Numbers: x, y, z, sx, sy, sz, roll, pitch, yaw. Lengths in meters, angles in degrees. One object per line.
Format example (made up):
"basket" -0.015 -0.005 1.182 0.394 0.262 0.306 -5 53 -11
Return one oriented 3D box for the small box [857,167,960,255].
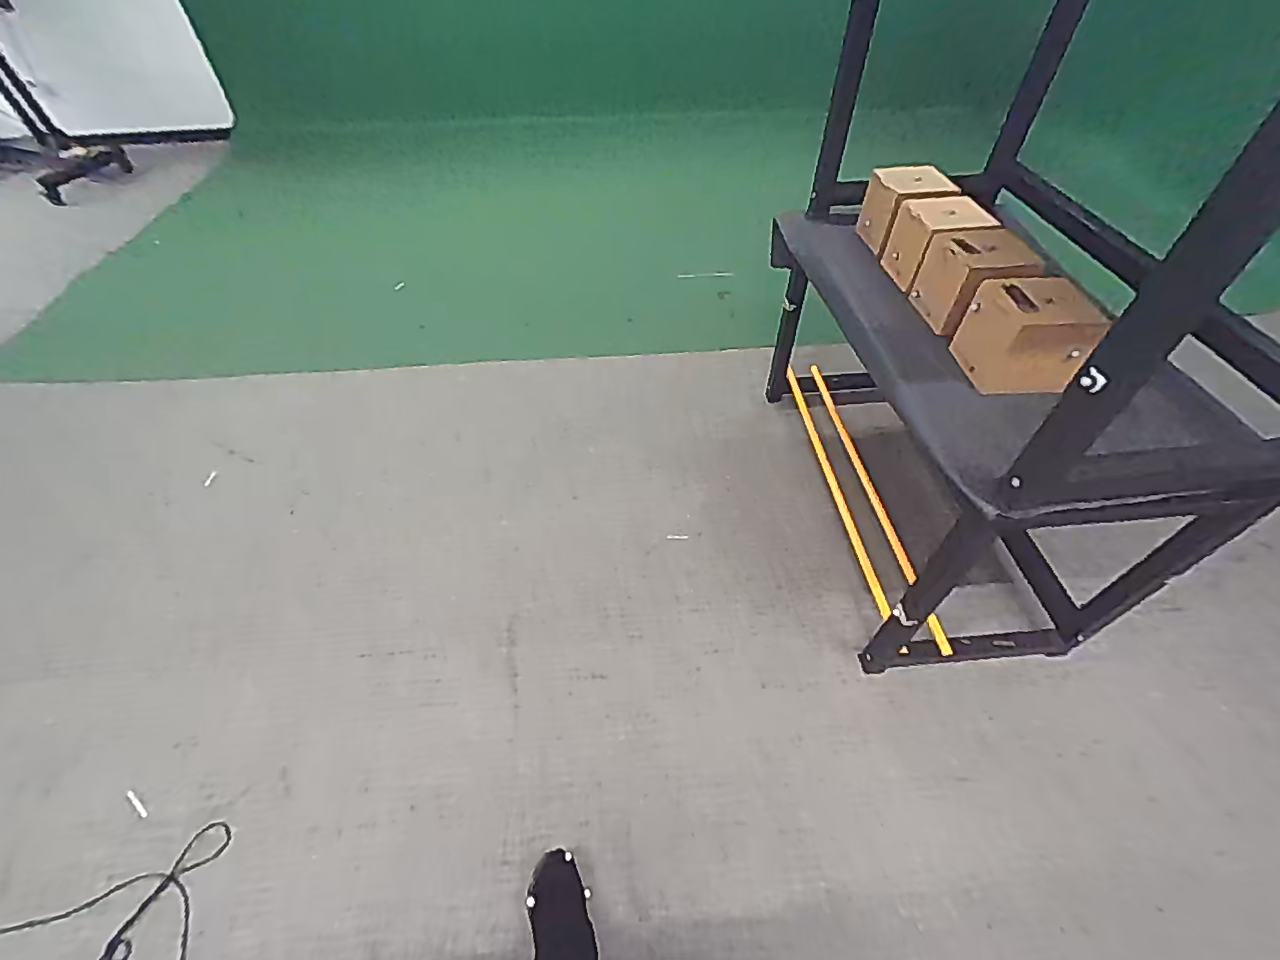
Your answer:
"small box" 0.737 -0.746 1.504 0.179 0.176 0.168 -5 50 -4
